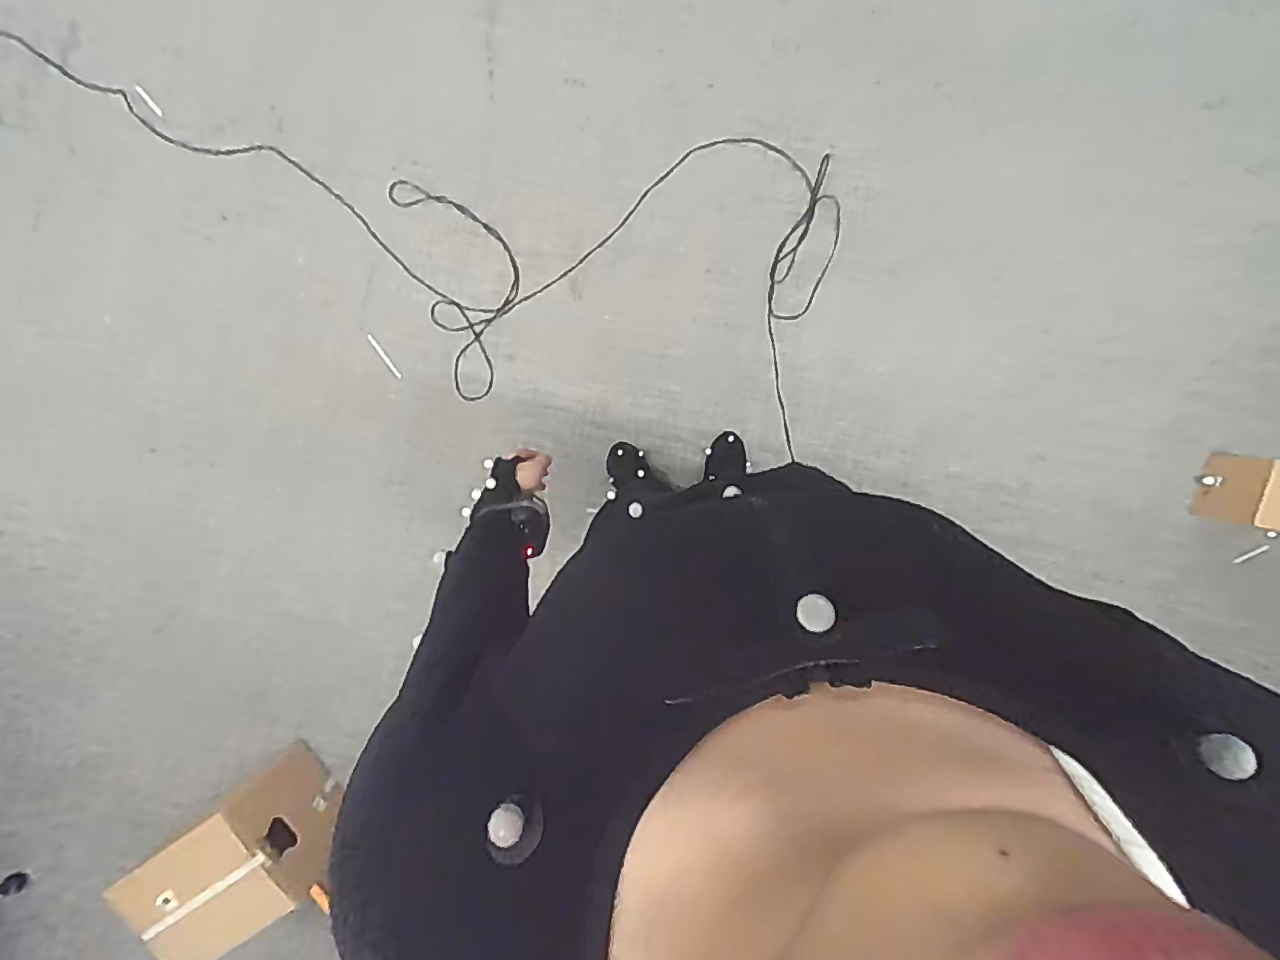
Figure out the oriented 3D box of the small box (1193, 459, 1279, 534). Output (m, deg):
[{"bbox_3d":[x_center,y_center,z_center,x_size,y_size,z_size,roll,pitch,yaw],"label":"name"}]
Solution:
[{"bbox_3d":[1.573,0.045,1.355,0.179,0.176,0.168,11,96,2],"label":"small box"}]
